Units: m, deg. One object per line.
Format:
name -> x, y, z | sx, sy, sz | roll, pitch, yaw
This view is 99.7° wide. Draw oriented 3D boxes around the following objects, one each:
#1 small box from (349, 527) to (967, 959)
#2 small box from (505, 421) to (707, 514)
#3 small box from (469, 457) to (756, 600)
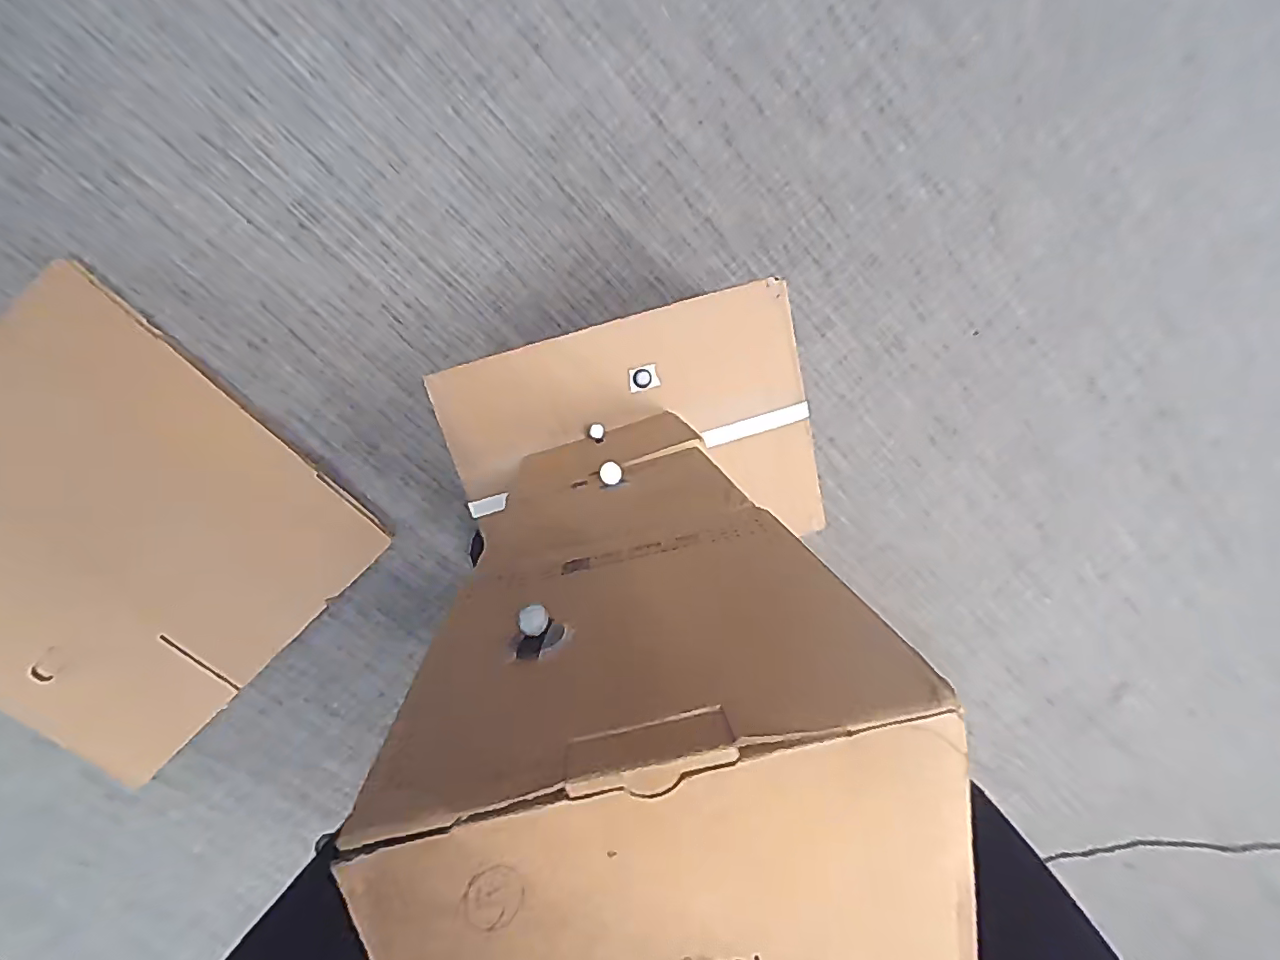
small box -> 0.012, 0.133, 0.241 | 0.168, 0.176, 0.179 | -13, 106, -1
small box -> -0.016, 0.047, 0.556 | 0.179, 0.176, 0.168 | -21, 103, -1
small box -> -0.003, 0.097, 0.397 | 0.168, 0.176, 0.179 | -15, 104, -2
